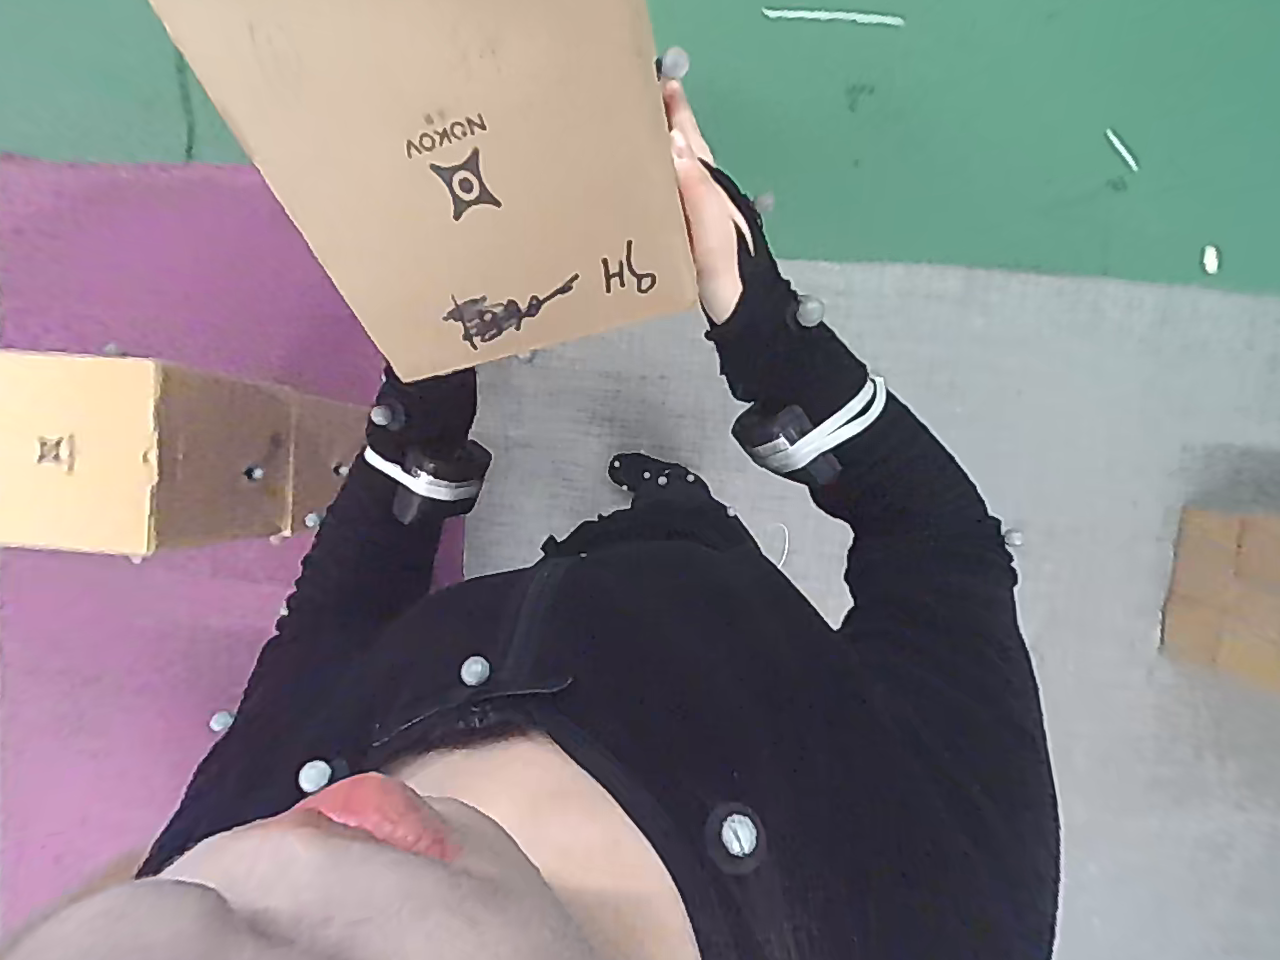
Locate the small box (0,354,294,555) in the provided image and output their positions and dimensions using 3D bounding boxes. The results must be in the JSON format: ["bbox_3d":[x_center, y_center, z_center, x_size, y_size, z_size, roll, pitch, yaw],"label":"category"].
[{"bbox_3d":[-0.484,-0.023,0.537,0.179,0.176,0.168,3,92,1],"label":"small box"}]

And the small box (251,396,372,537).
[{"bbox_3d":[-0.472,-0.022,0.700,0.179,0.176,0.168,2,92,2],"label":"small box"}]
